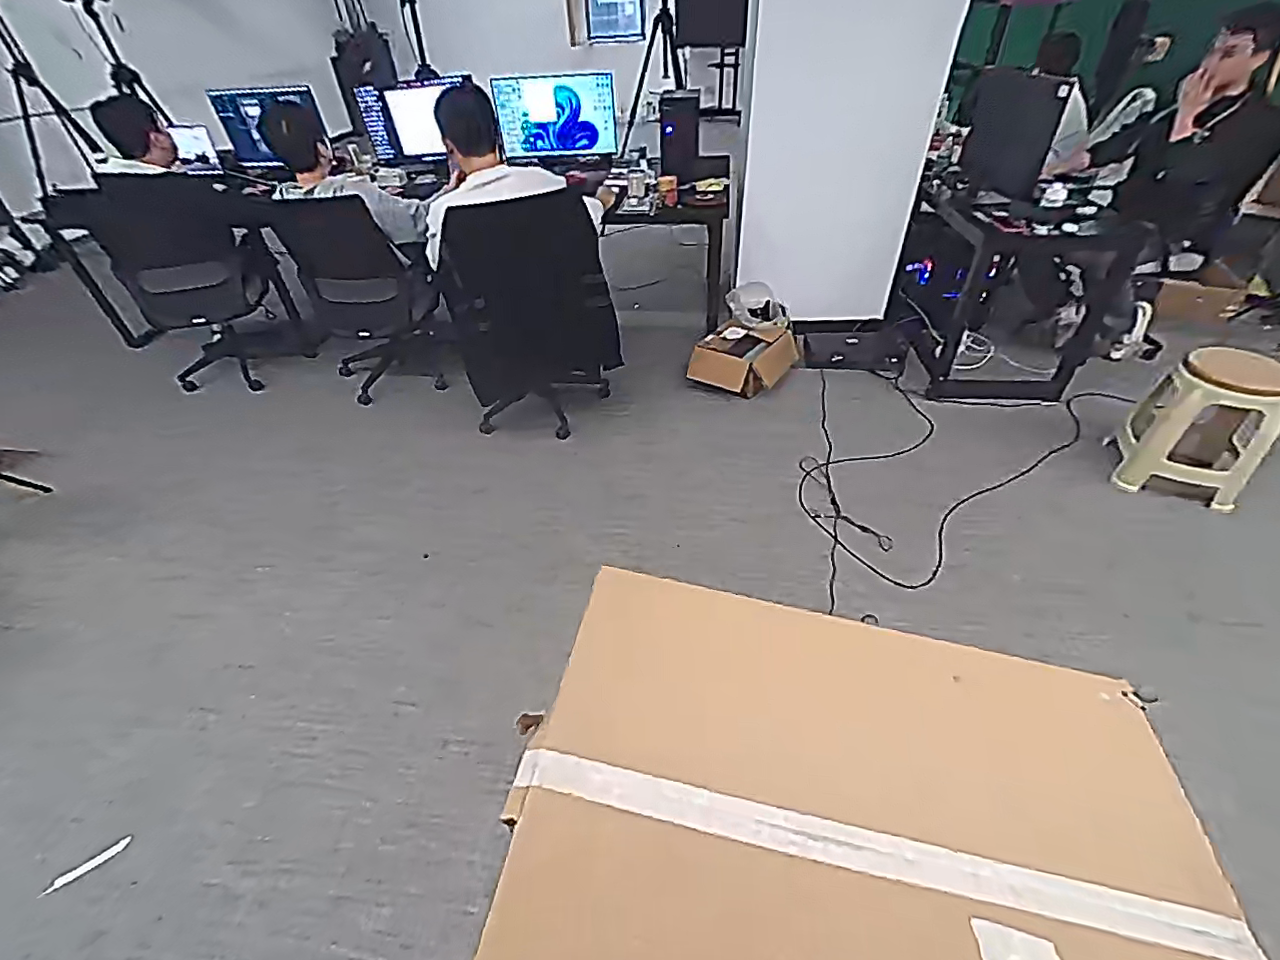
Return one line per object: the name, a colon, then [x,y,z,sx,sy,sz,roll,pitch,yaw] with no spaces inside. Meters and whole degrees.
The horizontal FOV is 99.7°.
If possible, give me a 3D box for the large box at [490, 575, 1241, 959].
large box: [0.119,0.323,0.420,0.408,0.320,0.320,12,44,4]
